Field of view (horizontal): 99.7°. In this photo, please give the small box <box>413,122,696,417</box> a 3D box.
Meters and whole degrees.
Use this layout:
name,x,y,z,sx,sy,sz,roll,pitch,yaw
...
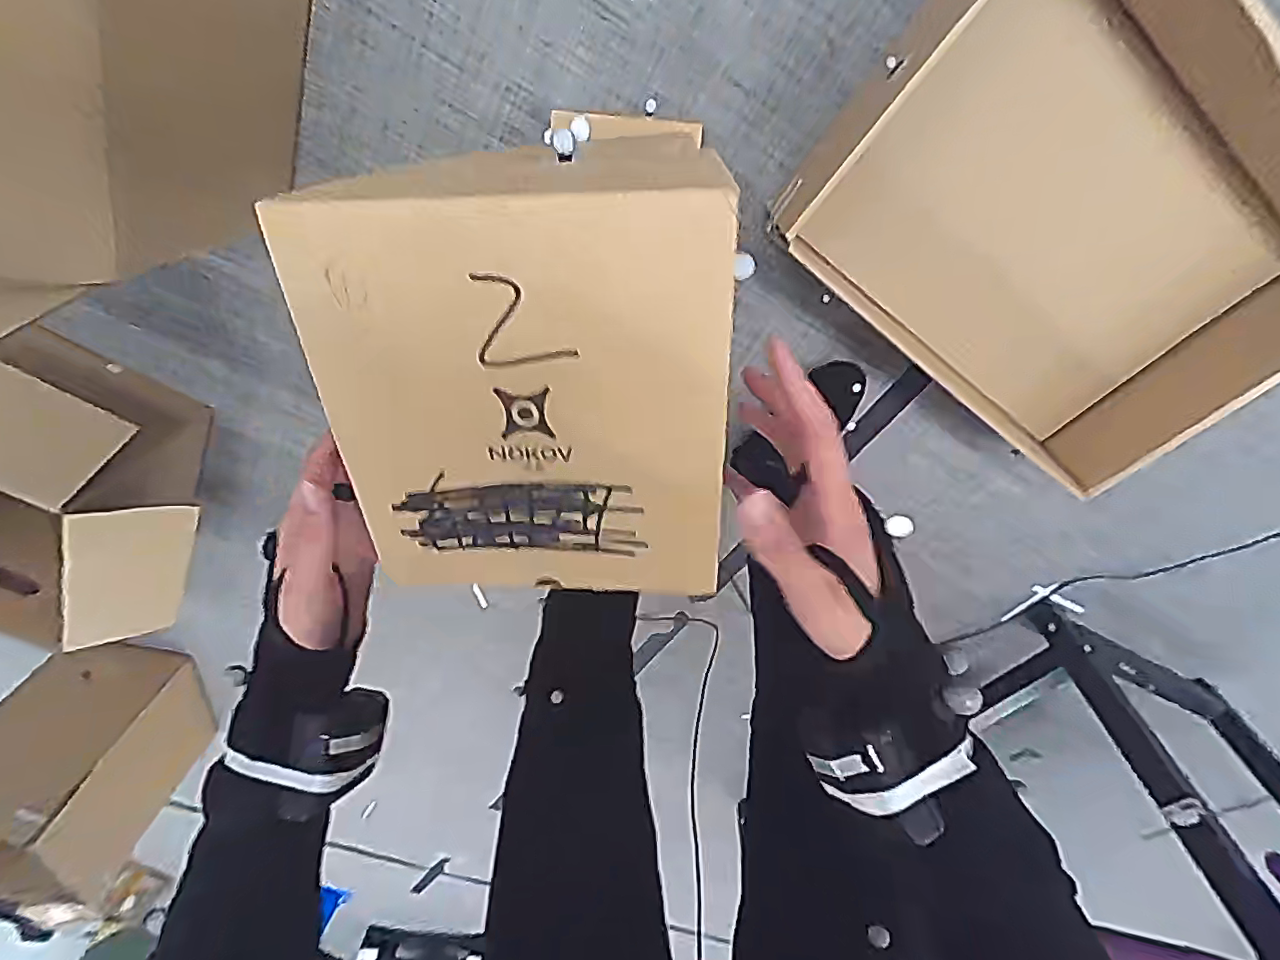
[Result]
name,x,y,z,sx,sy,sz,roll,pitch,yaw
small box,-0.040,-0.166,0.421,0.168,0.176,0.179,-2,124,6

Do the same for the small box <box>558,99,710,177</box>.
name,x,y,z,sx,sy,sz,roll,pitch,yaw
small box,-0.007,-0.365,0.681,0.168,0.176,0.179,6,125,0
